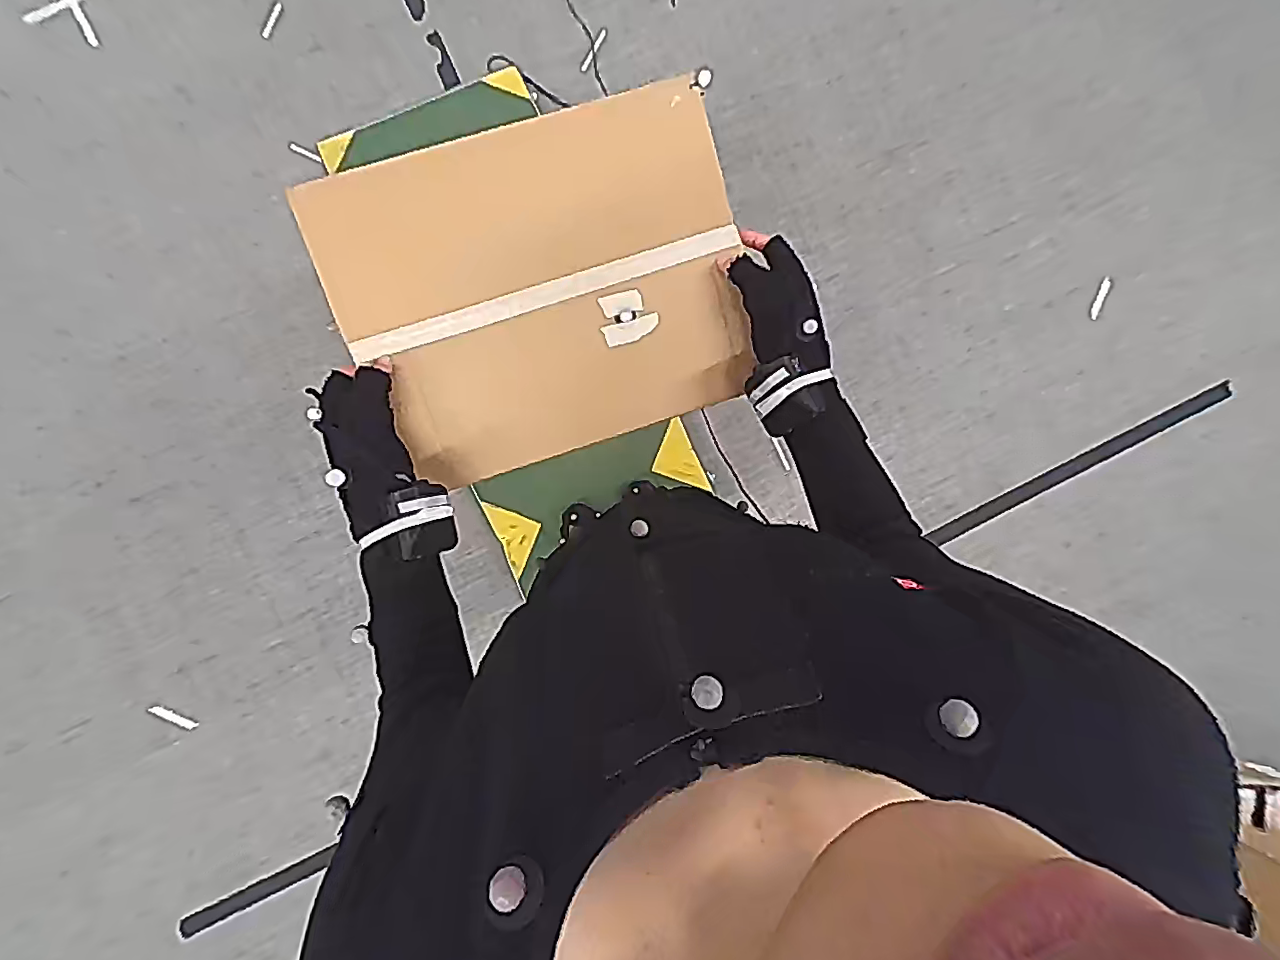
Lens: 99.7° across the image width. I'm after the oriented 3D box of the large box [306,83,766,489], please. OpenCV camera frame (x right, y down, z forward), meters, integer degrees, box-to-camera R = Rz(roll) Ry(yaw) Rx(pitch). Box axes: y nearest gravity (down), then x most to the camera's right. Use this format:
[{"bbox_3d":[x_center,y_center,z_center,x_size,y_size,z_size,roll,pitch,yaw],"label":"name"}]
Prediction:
[{"bbox_3d":[-0.111,-0.214,0.704,0.408,0.320,0.320,-19,100,-5],"label":"large box"}]
